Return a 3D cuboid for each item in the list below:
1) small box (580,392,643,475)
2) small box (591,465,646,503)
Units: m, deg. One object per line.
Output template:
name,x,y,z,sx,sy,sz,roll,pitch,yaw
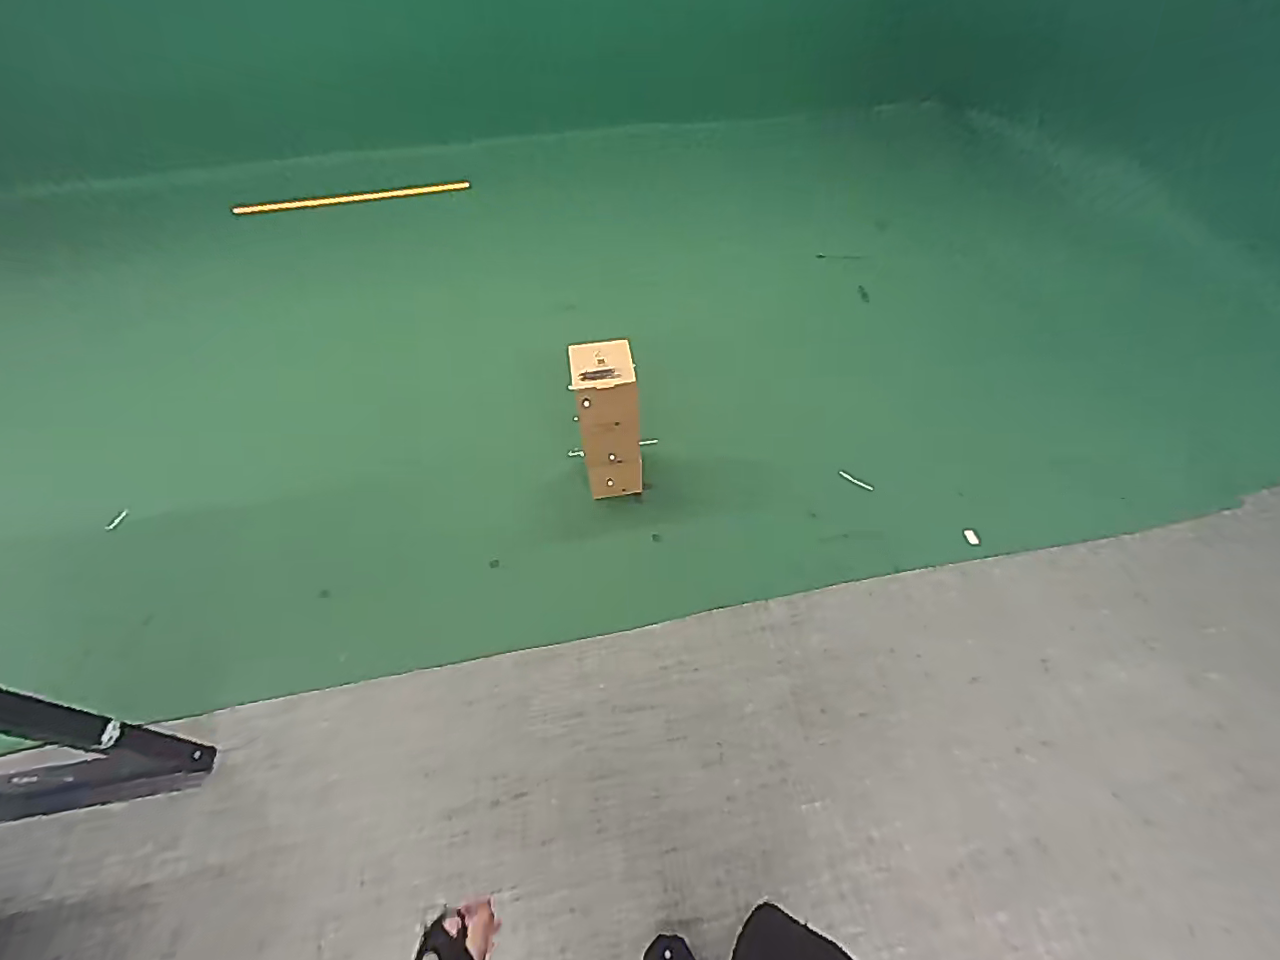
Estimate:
small box,-0.086,-0.138,1.629,0.168,0.176,0.179,-9,53,-3
small box,-0.075,-0.040,1.762,0.168,0.176,0.179,-11,53,-4
